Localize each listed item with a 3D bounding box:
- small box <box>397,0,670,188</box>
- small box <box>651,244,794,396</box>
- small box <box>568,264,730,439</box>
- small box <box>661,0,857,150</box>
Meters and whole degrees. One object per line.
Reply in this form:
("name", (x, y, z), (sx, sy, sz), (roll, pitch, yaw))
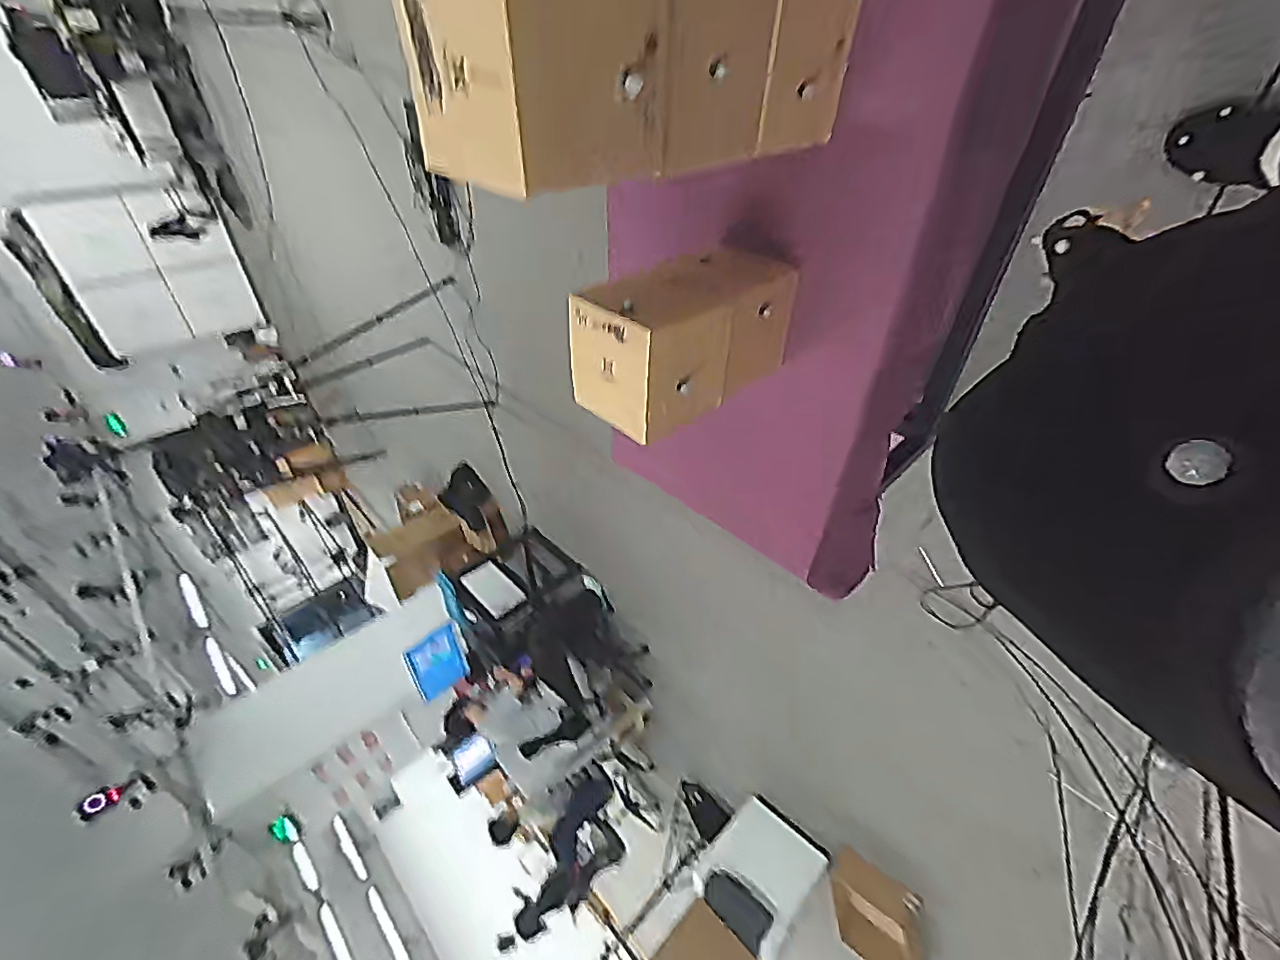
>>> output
("small box", (-0.094, -0.382, 0.491), (0.179, 0.176, 0.168), (34, 140, 32))
("small box", (0.130, -0.270, 0.886), (0.168, 0.176, 0.179), (34, 140, 33))
("small box", (0.014, -0.195, 0.797), (0.168, 0.176, 0.179), (34, 140, 33))
("small box", (0.139, -0.527, 0.672), (0.179, 0.176, 0.168), (36, 140, 32))
